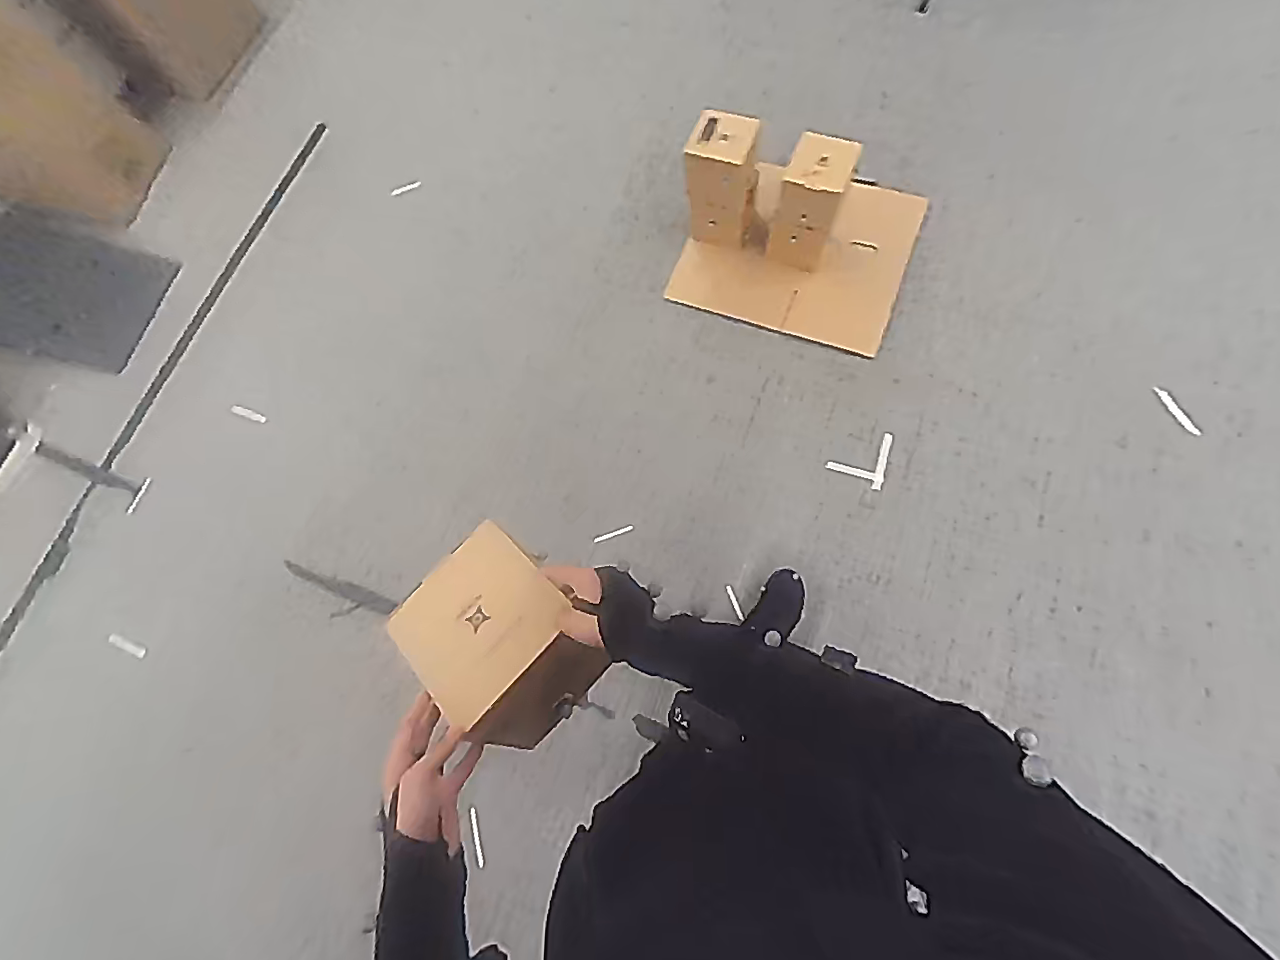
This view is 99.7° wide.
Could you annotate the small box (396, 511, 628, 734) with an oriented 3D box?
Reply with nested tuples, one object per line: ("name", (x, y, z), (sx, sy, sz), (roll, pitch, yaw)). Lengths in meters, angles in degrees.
("small box", (-0.143, 0.175, 0.645), (0.168, 0.176, 0.179), (-45, 58, -11))

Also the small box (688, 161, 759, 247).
("small box", (0.269, -0.882, 1.743), (0.179, 0.176, 0.168), (20, 77, 14))

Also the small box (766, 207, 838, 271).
("small box", (0.509, -0.783, 1.684), (0.179, 0.176, 0.168), (22, 78, 13))

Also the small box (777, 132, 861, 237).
("small box", (0.497, -0.828, 1.525), (0.168, 0.176, 0.179), (22, 78, 13))
